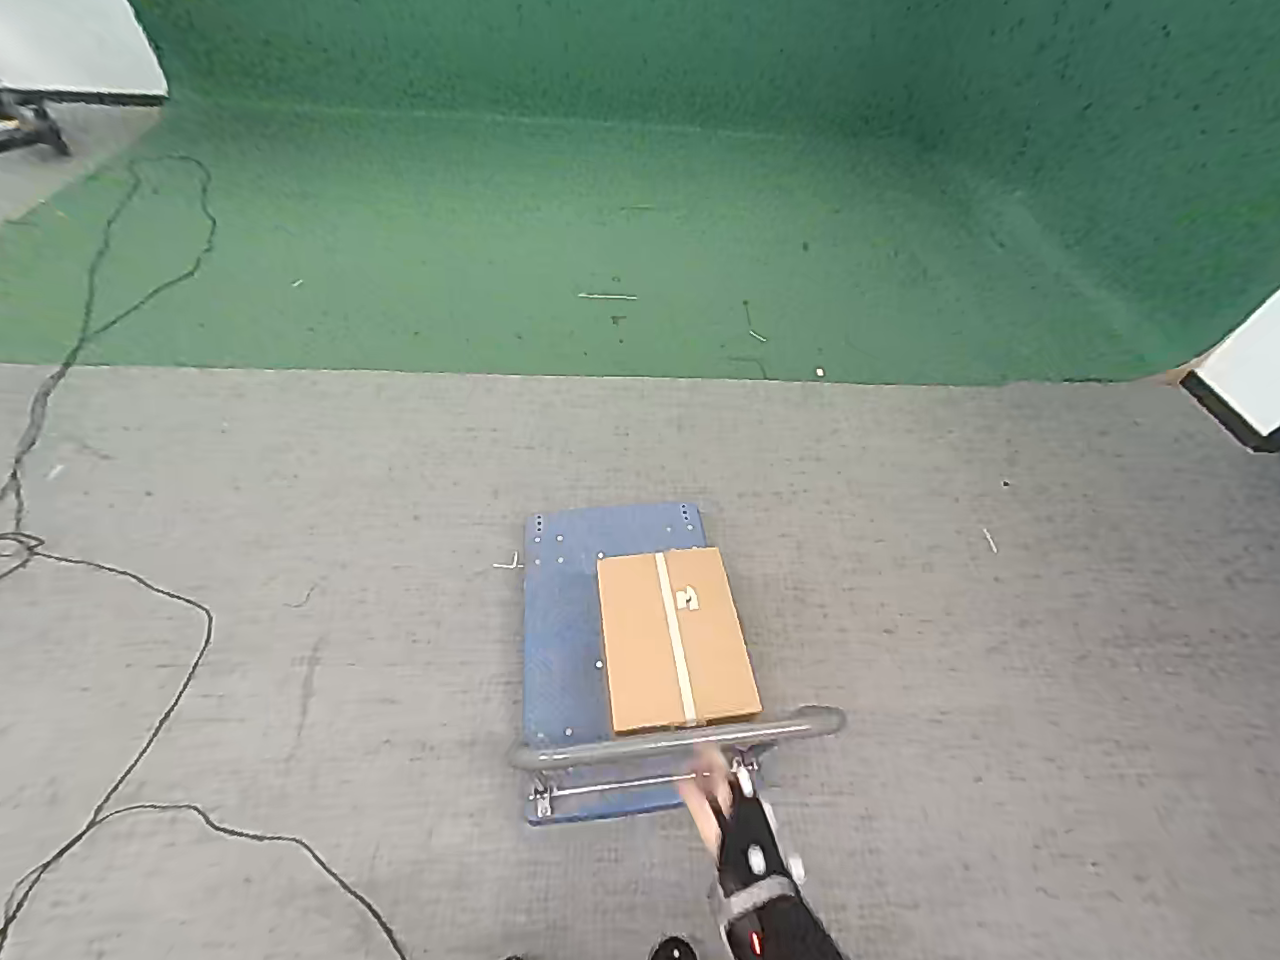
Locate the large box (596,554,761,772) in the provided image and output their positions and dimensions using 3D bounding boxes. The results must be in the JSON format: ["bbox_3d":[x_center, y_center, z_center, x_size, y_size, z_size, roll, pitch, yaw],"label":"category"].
[{"bbox_3d":[0.066,0.446,1.332,0.320,0.320,0.408,-4,50,-8],"label":"large box"}]
